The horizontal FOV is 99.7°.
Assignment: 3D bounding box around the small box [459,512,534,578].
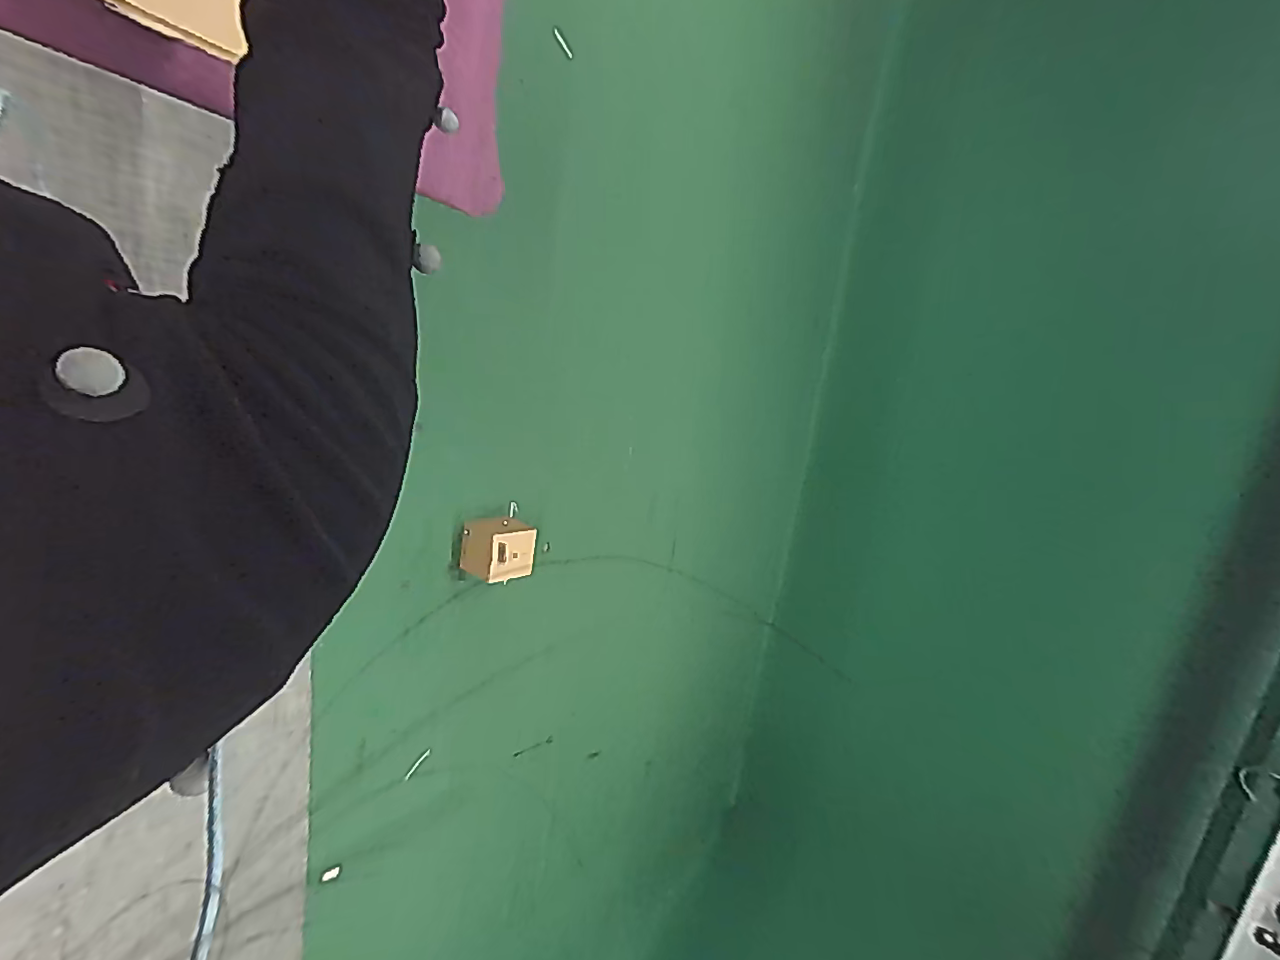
[{"bbox_3d":[-0.488,0.213,1.822,0.179,0.176,0.168,-3,107,-51],"label":"small box"}]
